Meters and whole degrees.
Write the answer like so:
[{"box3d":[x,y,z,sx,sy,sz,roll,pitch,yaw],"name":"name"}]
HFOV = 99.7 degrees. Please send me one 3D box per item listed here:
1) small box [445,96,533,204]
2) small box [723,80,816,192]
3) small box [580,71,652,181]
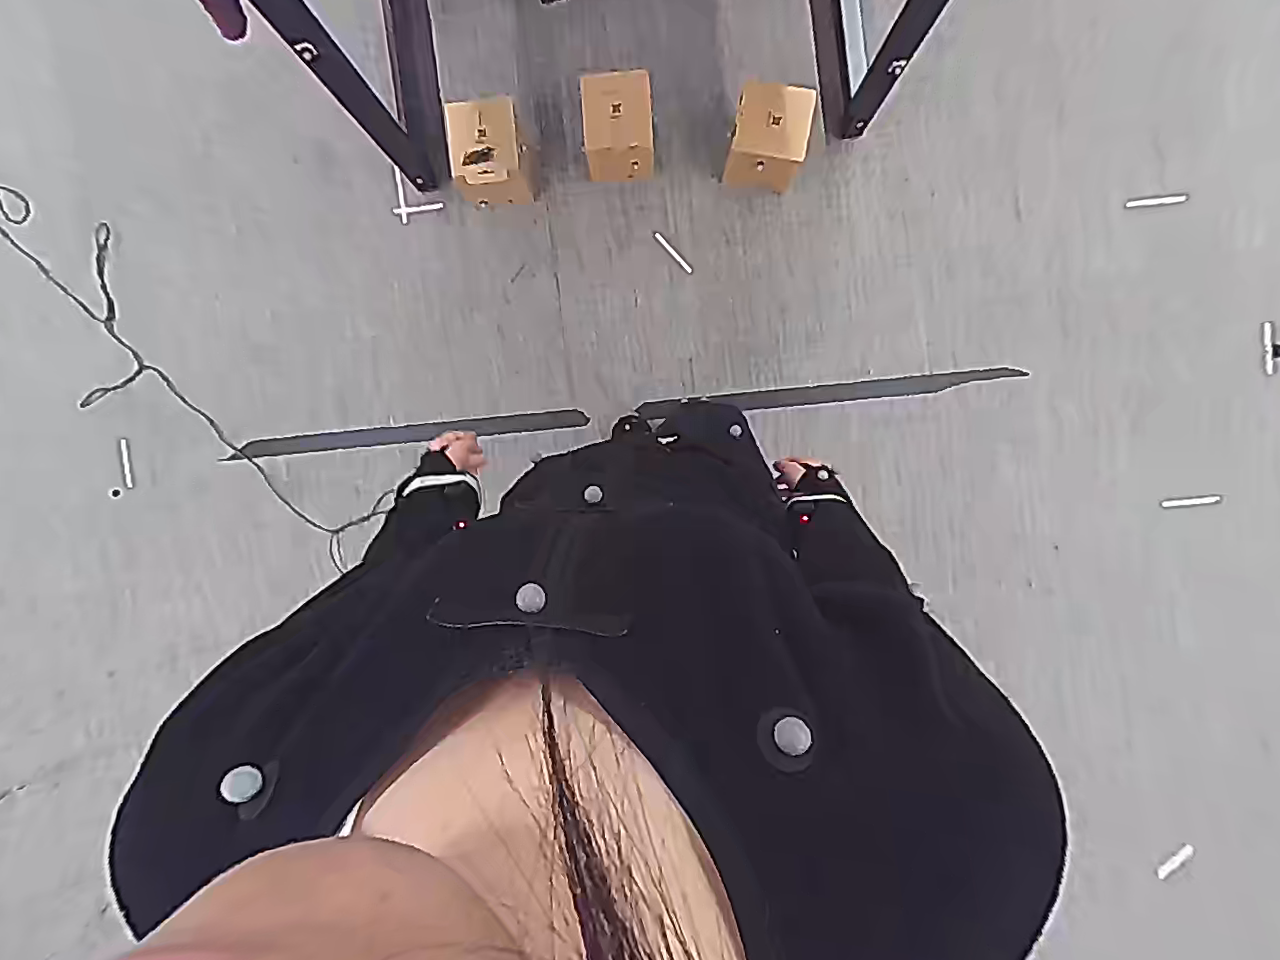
[{"box3d":[-0.374,-0.821,1.367,0.168,0.176,0.179,-5,92,1],"name":"small box"},{"box3d":[0.317,-0.851,1.355,0.179,0.176,0.168,11,94,2],"name":"small box"},{"box3d":[-0.055,-0.878,1.360,0.168,0.176,0.179,-4,92,0],"name":"small box"}]
